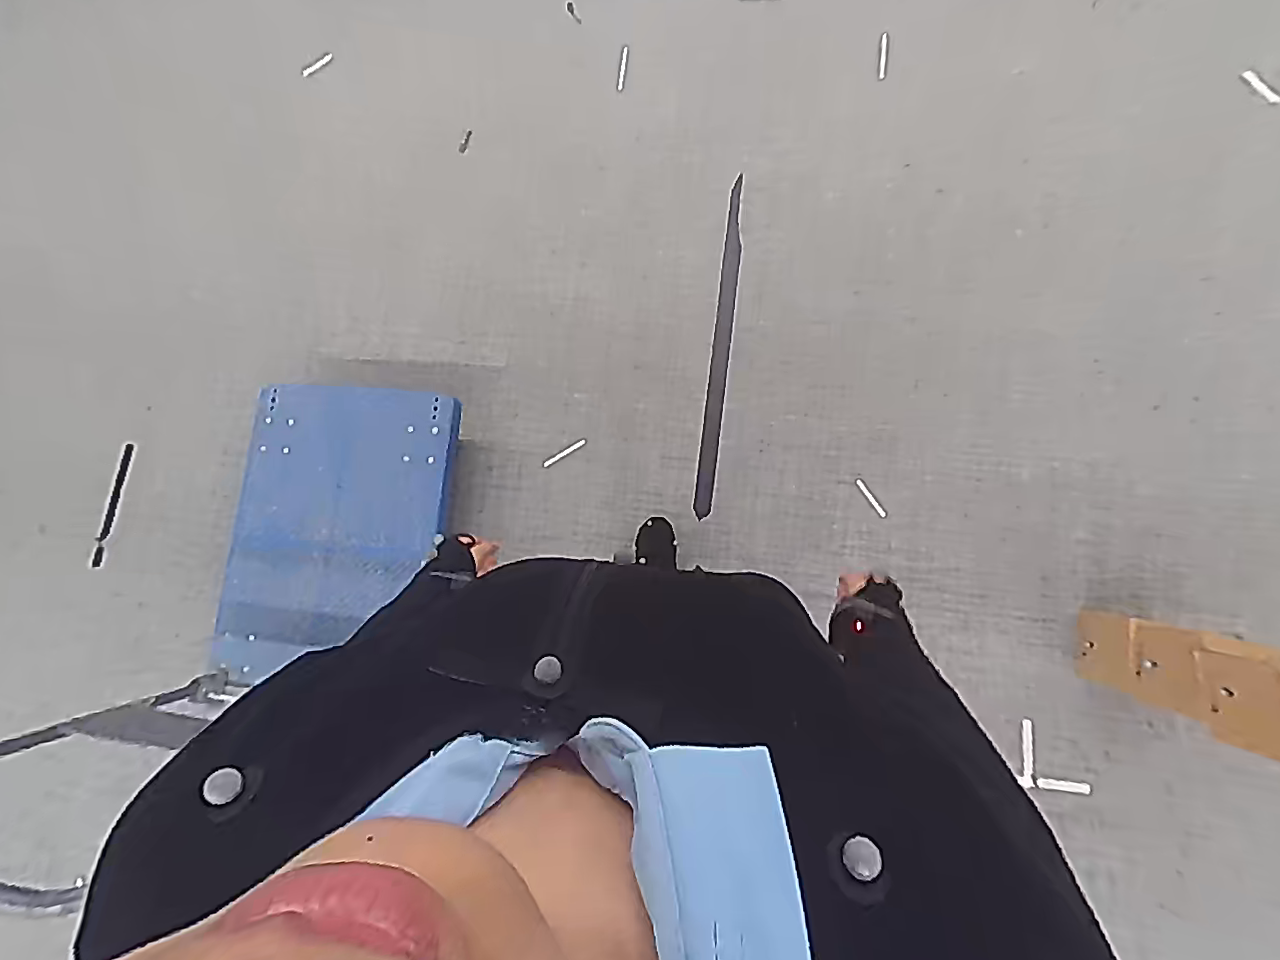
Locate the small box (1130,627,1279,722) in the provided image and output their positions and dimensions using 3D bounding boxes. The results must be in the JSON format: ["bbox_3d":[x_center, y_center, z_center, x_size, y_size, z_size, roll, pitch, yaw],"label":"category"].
[{"bbox_3d":[1.155,0.401,1.093,0.179,0.176,0.168,10,82,8],"label":"small box"}]

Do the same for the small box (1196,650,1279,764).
[{"bbox_3d":[1.136,0.389,0.931,0.179,0.176,0.168,-2,81,7],"label":"small box"}]
